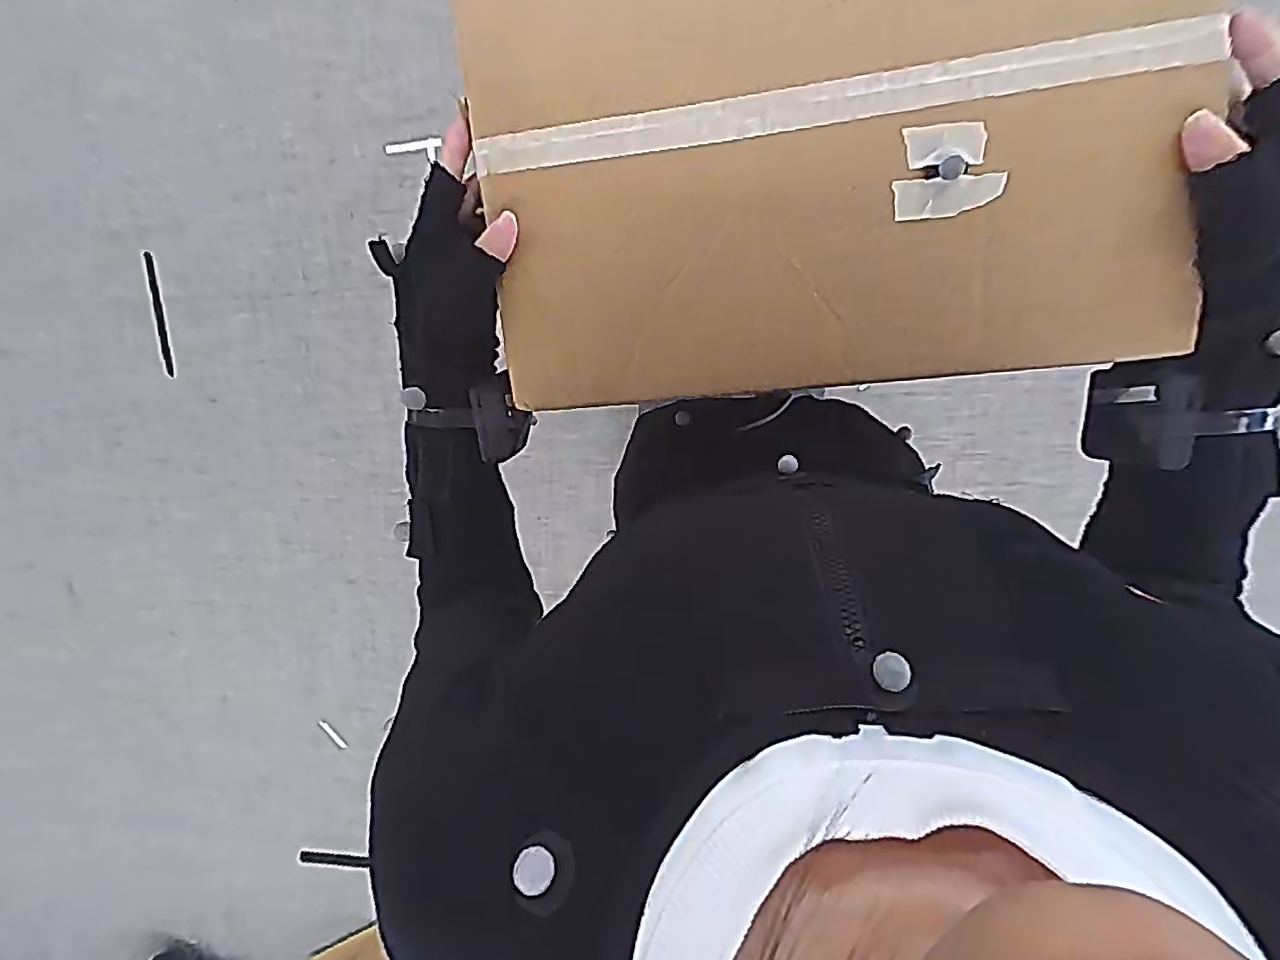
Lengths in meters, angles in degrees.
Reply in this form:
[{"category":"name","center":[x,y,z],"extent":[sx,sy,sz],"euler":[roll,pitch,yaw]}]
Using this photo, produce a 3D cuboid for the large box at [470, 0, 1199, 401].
[{"category":"large box","center":[0.117,-0.251,0.462],"extent":[0.408,0.320,0.320],"euler":[-4,103,7]}]
